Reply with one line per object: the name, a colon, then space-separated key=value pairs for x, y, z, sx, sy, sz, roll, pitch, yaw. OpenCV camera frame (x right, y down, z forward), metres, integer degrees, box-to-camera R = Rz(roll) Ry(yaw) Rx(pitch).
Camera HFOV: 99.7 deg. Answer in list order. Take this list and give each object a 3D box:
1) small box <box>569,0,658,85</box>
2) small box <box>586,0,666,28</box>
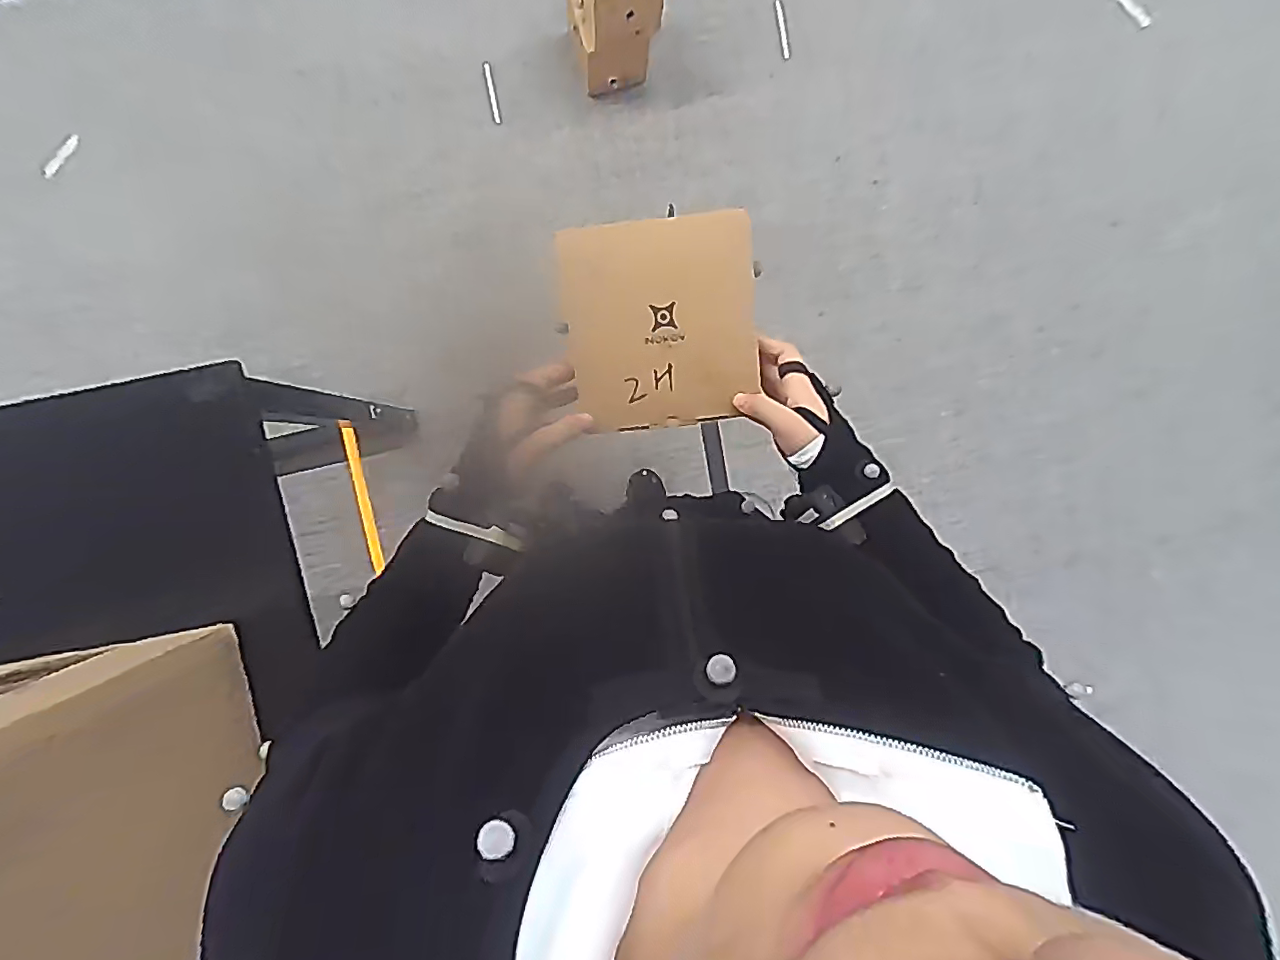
small box: x=-0.067 y=-1.085 z=1.267 sx=0.168 sy=0.176 sz=0.179 roll=-18 pitch=96 yaw=-2
small box: x=-0.039 y=-1.078 z=1.105 sx=0.168 sy=0.176 sz=0.179 roll=-19 pitch=95 yaw=-2
